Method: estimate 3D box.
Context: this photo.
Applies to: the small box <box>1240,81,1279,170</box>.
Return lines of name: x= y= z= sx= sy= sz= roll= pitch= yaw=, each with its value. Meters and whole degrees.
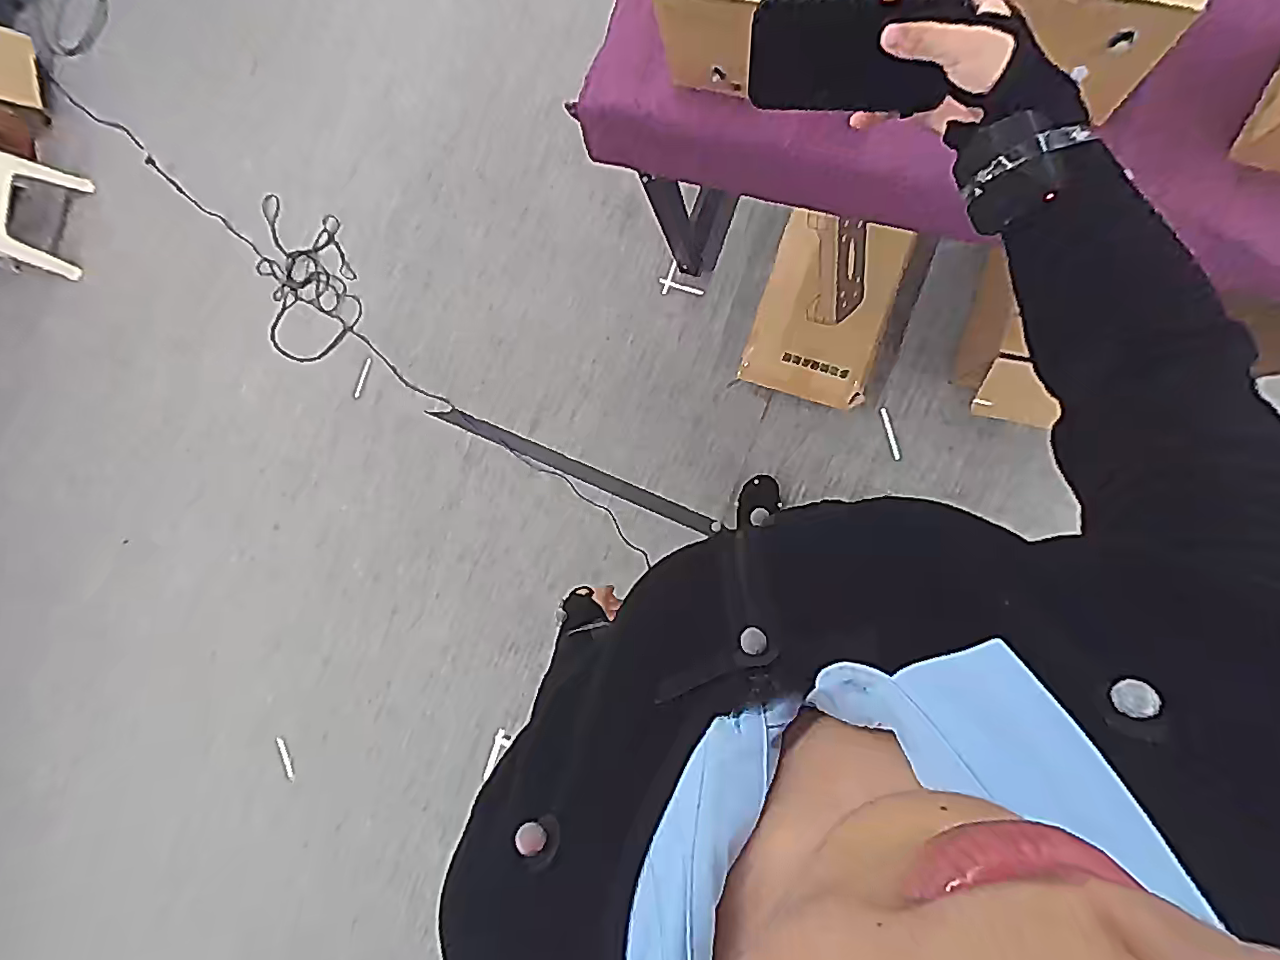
small box: x=0.788 y=-0.419 z=0.537 sx=0.179 sy=0.176 sz=0.168 roll=27 pitch=95 yaw=12

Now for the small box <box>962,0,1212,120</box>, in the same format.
small box: x=0.505 y=-0.546 z=0.608 sx=0.179 sy=0.176 sz=0.168 roll=20 pitch=91 yaw=13
